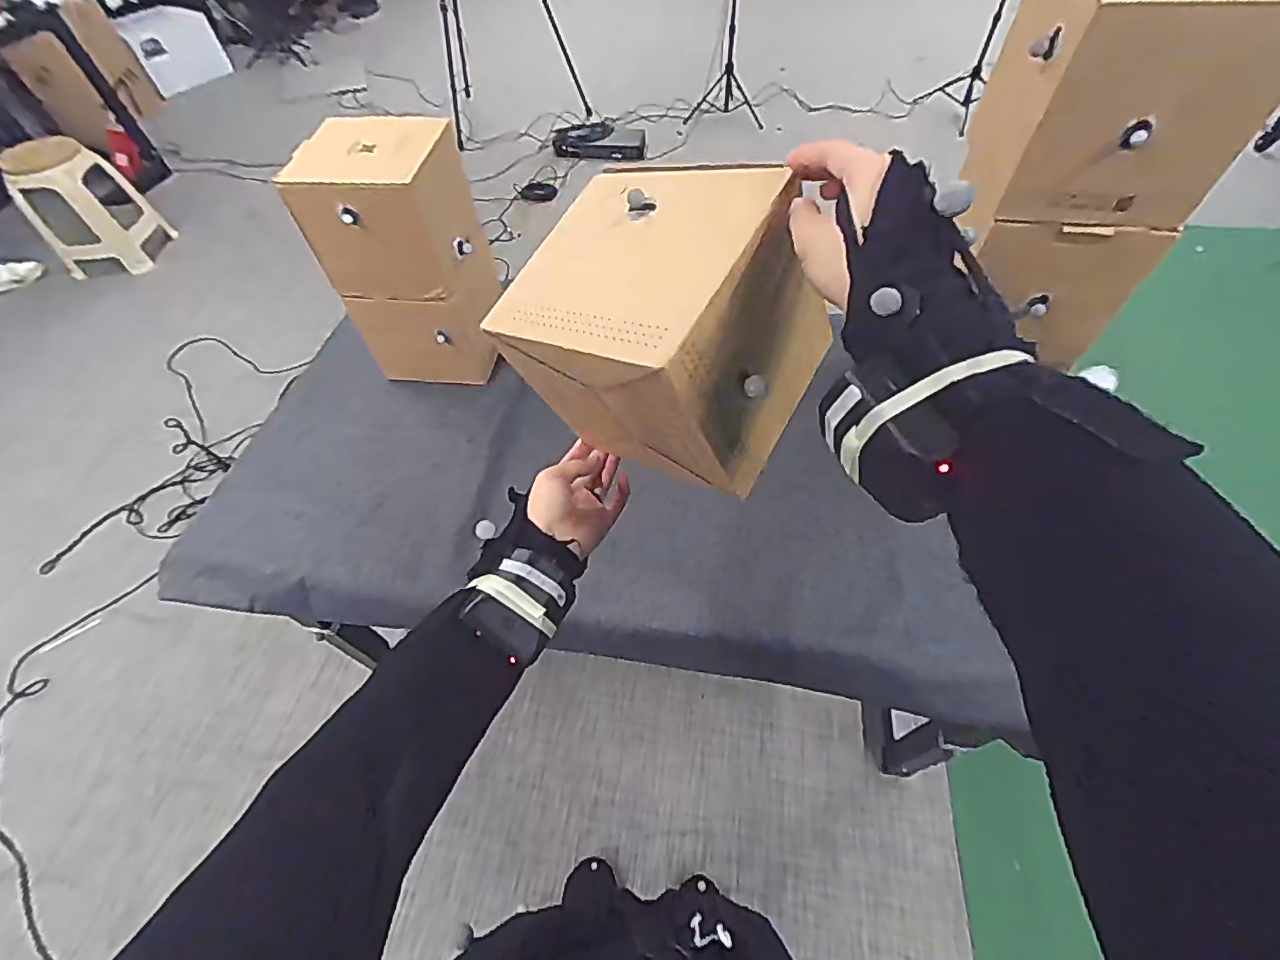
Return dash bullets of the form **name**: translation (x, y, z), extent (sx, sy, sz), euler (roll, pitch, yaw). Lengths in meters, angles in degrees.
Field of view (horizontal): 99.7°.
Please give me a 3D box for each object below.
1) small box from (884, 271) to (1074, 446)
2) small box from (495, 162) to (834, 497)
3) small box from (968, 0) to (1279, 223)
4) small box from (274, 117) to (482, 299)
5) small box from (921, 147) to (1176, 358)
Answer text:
- **small box**: translation (0.458, -0.175, 0.765), extent (0.168, 0.176, 0.179), euler (8, 57, 9)
- **small box**: translation (0.023, -0.113, 0.423), extent (0.179, 0.168, 0.176), euler (23, 73, 37)
- **small box**: translation (0.430, -0.358, 0.493), extent (0.168, 0.176, 0.179), euler (7, 56, 8)
- **small box**: translation (-0.341, -0.370, 0.744), extent (0.179, 0.176, 0.168), euler (4, 57, 4)
- **small box**: translation (0.446, -0.264, 0.628), extent (0.168, 0.176, 0.179), euler (9, 58, 9)
